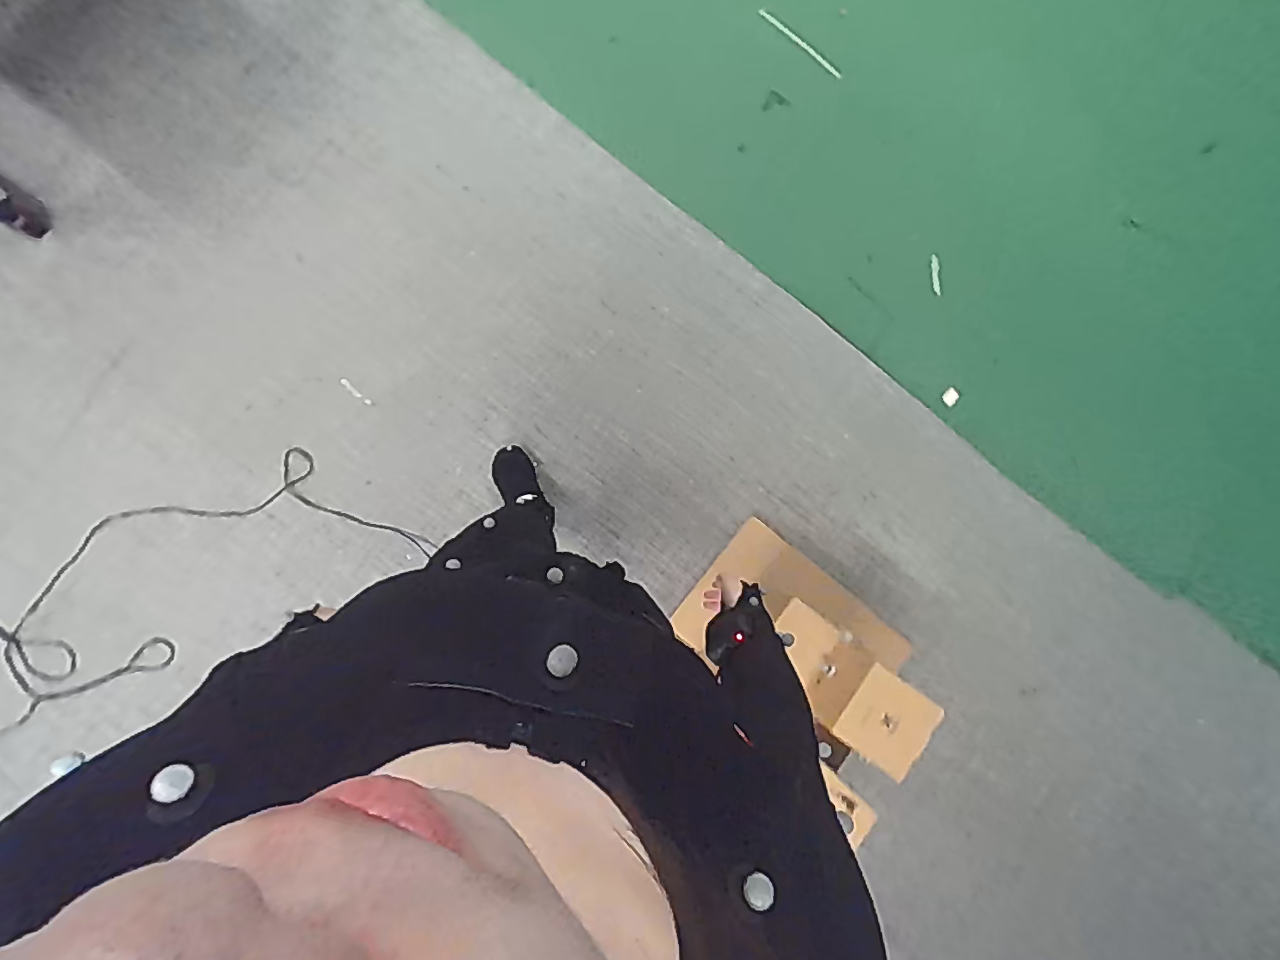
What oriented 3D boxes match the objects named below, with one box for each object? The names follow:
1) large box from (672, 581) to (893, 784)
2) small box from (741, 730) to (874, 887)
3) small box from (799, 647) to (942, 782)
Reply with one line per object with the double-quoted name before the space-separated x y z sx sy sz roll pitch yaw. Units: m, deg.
"large box" 0.334 0.520 1.356 0.320 0.320 0.408 38 85 -1
"small box" 0.326 0.654 1.100 0.168 0.176 0.179 43 83 -1
"small box" 0.469 0.474 1.126 0.179 0.176 0.168 36 84 -2
